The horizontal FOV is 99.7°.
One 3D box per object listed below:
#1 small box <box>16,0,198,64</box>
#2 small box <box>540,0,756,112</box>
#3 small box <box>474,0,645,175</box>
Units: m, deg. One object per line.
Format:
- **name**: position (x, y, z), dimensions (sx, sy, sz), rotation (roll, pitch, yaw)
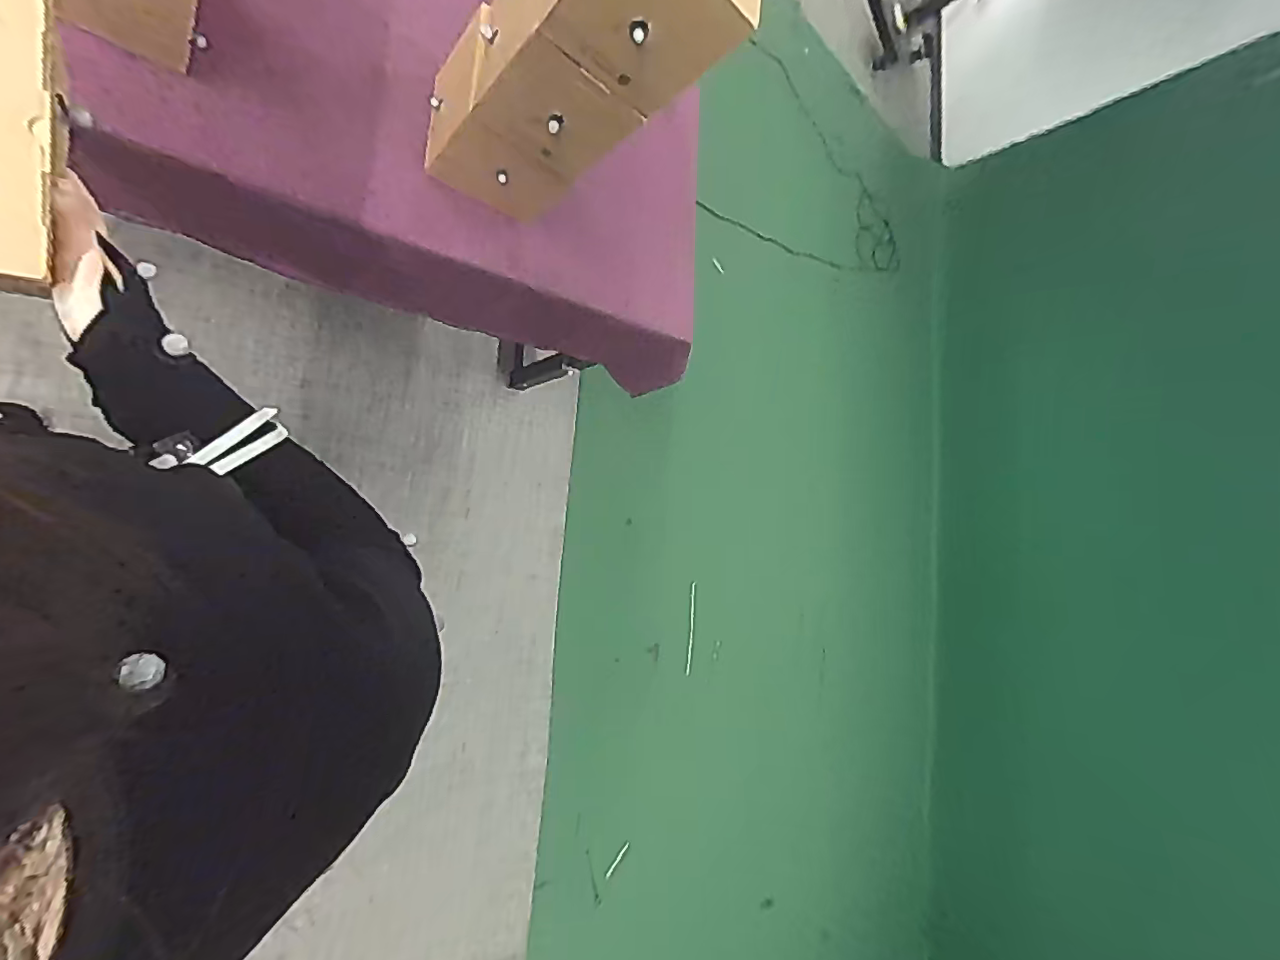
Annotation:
- **small box**: position (-0.542, -0.564, 0.529), dimensions (0.179, 0.176, 0.168), rotation (8, 82, -40)
- **small box**: position (0.009, -0.550, 0.576), dimensions (0.168, 0.176, 0.179), rotation (12, 79, -40)
- **small box**: position (-0.098, -0.543, 0.702), dimensions (0.168, 0.176, 0.179), rotation (14, 79, -40)
